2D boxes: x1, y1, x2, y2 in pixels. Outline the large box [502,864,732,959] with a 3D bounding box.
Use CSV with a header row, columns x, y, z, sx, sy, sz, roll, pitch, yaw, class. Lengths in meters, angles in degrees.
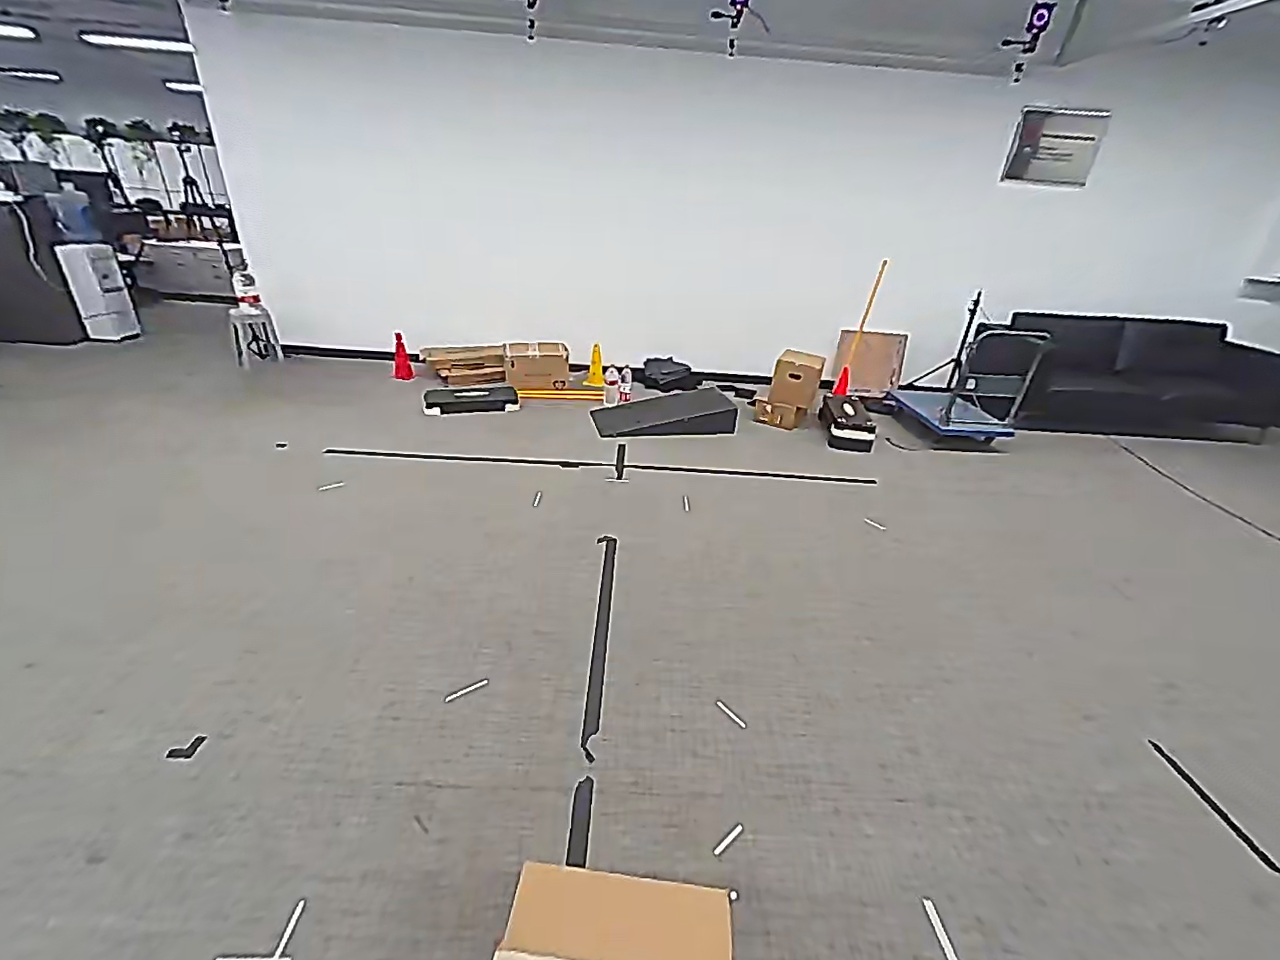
x,y,z,sx,sy,sz,roll,pitch,yaw,class
-0.053,0.968,0.977,0.408,0.320,0.320,7,28,2,large box
